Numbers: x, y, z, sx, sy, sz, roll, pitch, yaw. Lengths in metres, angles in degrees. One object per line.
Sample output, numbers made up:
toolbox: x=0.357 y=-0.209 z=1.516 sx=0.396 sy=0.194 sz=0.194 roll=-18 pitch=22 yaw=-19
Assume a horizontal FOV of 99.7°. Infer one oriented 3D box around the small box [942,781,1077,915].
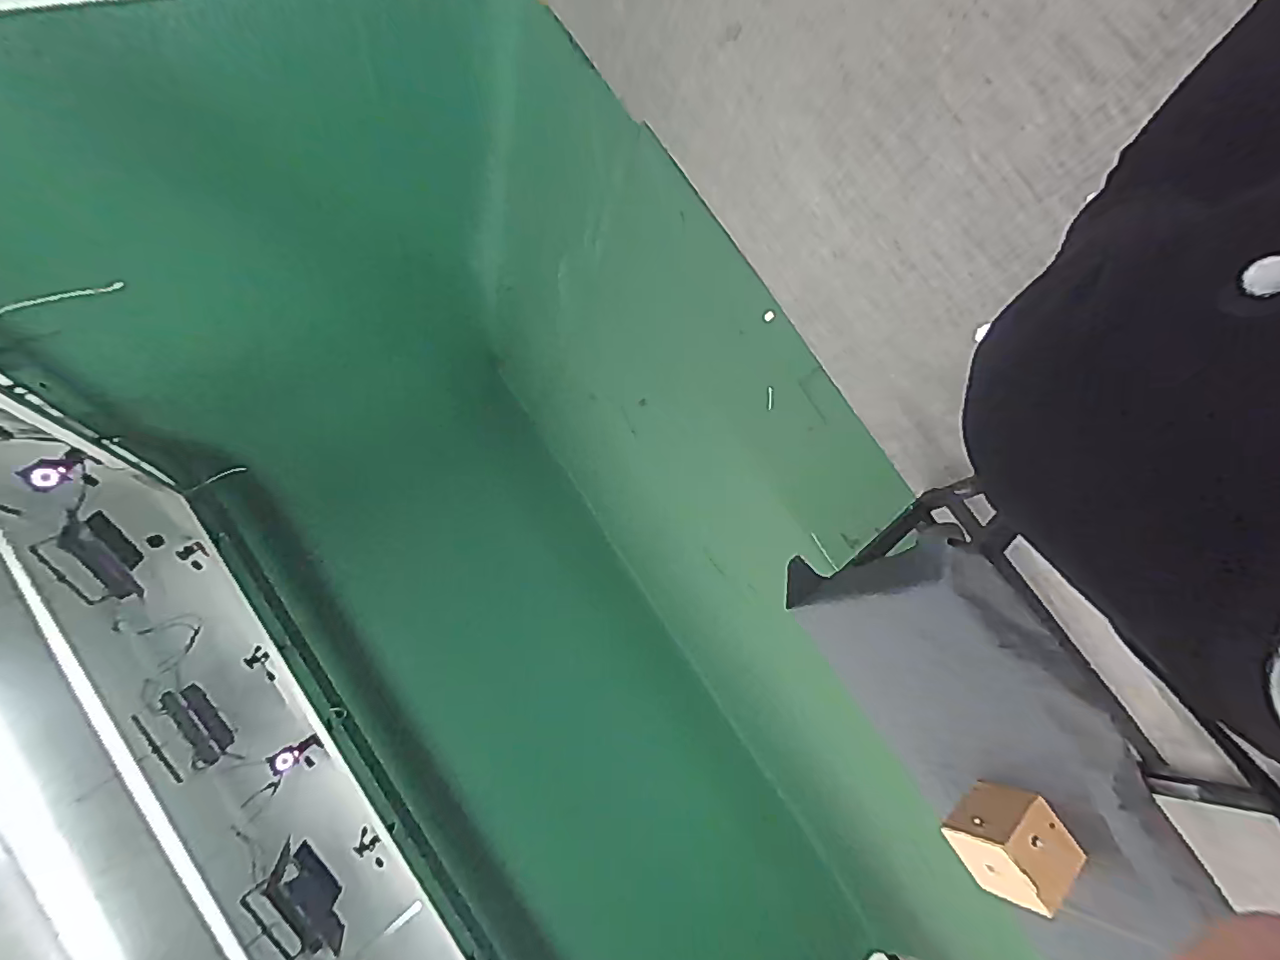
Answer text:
small box: x=0.853 y=0.829 z=1.243 sx=0.168 sy=0.176 sz=0.179 roll=56 pitch=156 yaw=6
